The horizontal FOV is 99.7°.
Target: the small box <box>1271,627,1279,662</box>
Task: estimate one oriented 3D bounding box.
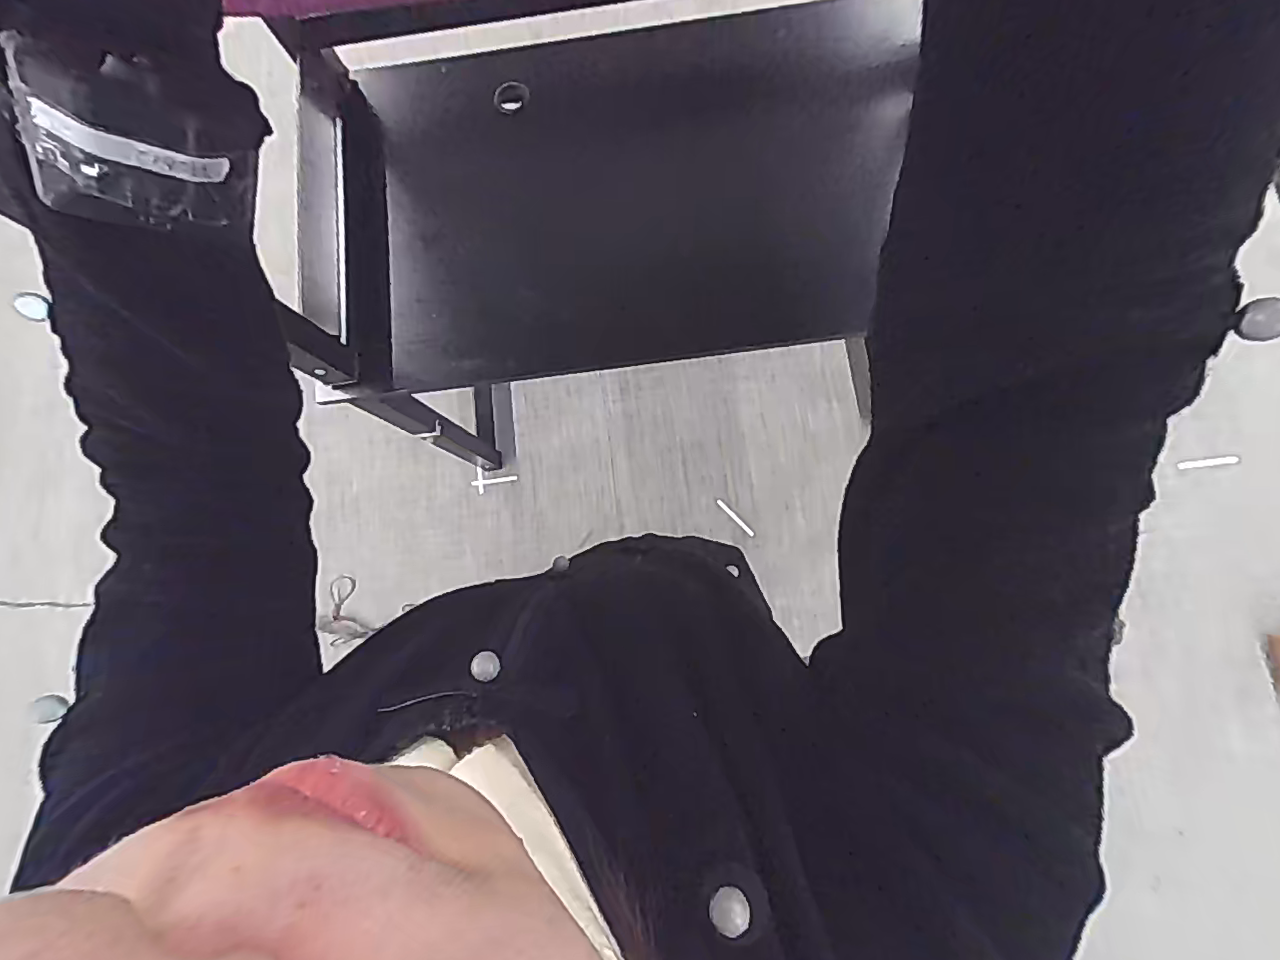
[{"bbox_3d":[1.681,0.440,1.276,0.168,0.176,0.179,-8,81,2],"label":"small box"}]
